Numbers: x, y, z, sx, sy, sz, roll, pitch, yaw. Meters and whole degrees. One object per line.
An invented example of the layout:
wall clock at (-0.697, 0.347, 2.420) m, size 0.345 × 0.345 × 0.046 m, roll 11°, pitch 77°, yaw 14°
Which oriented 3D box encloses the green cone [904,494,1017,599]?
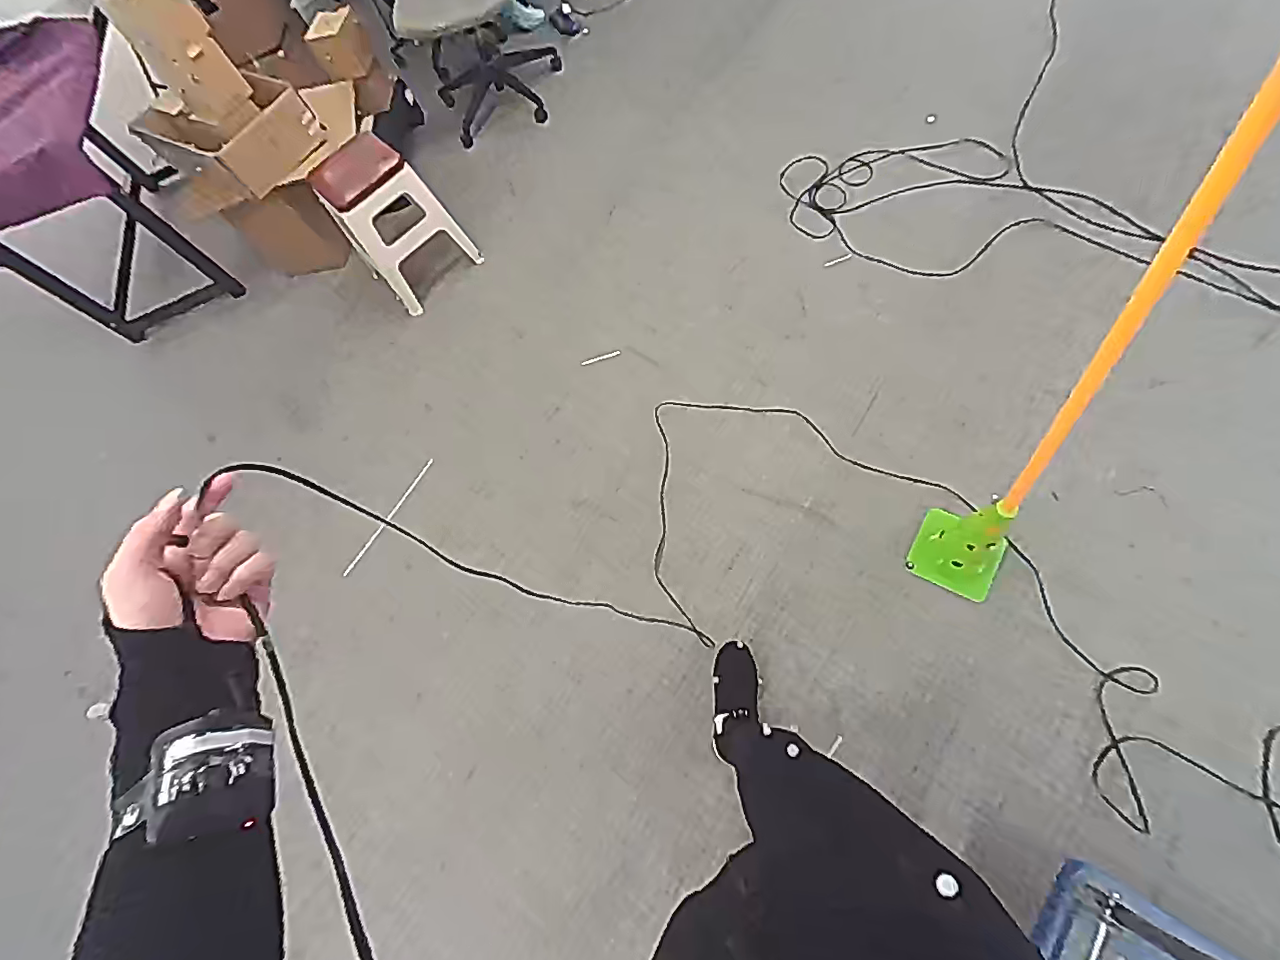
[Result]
green cone at (0.787, 0.121, 1.263) m, size 0.200 × 0.368 × 0.202 m, roll 25°, pitch 74°, yaw 21°
